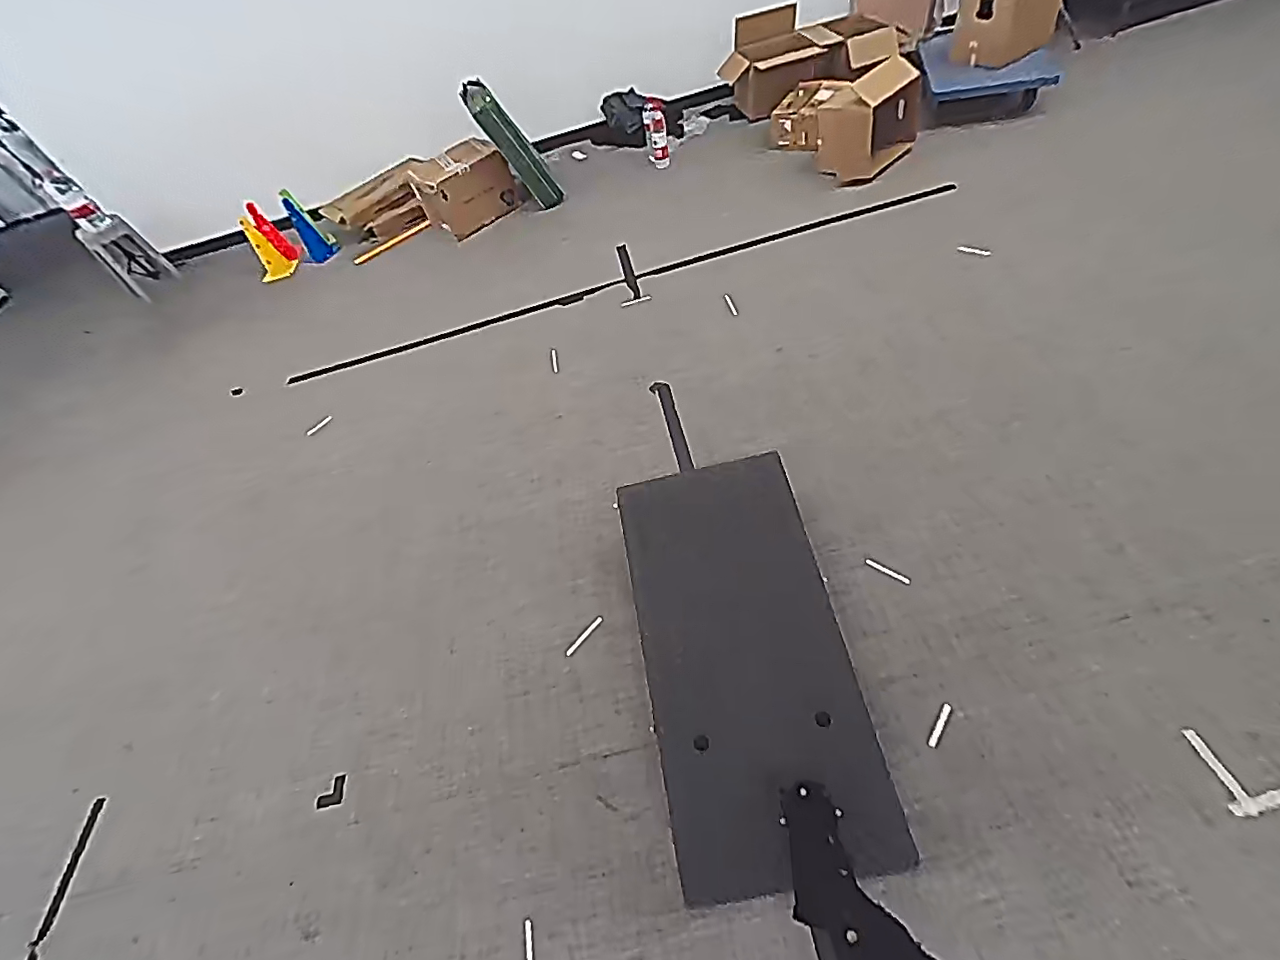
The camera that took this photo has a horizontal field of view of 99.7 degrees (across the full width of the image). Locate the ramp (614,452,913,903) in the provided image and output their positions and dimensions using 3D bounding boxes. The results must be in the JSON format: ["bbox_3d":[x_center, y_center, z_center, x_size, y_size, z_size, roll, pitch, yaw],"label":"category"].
[{"bbox_3d":[0.244,0.403,1.354,0.509,0.206,0.991,-14,51,2],"label":"ramp"}]
